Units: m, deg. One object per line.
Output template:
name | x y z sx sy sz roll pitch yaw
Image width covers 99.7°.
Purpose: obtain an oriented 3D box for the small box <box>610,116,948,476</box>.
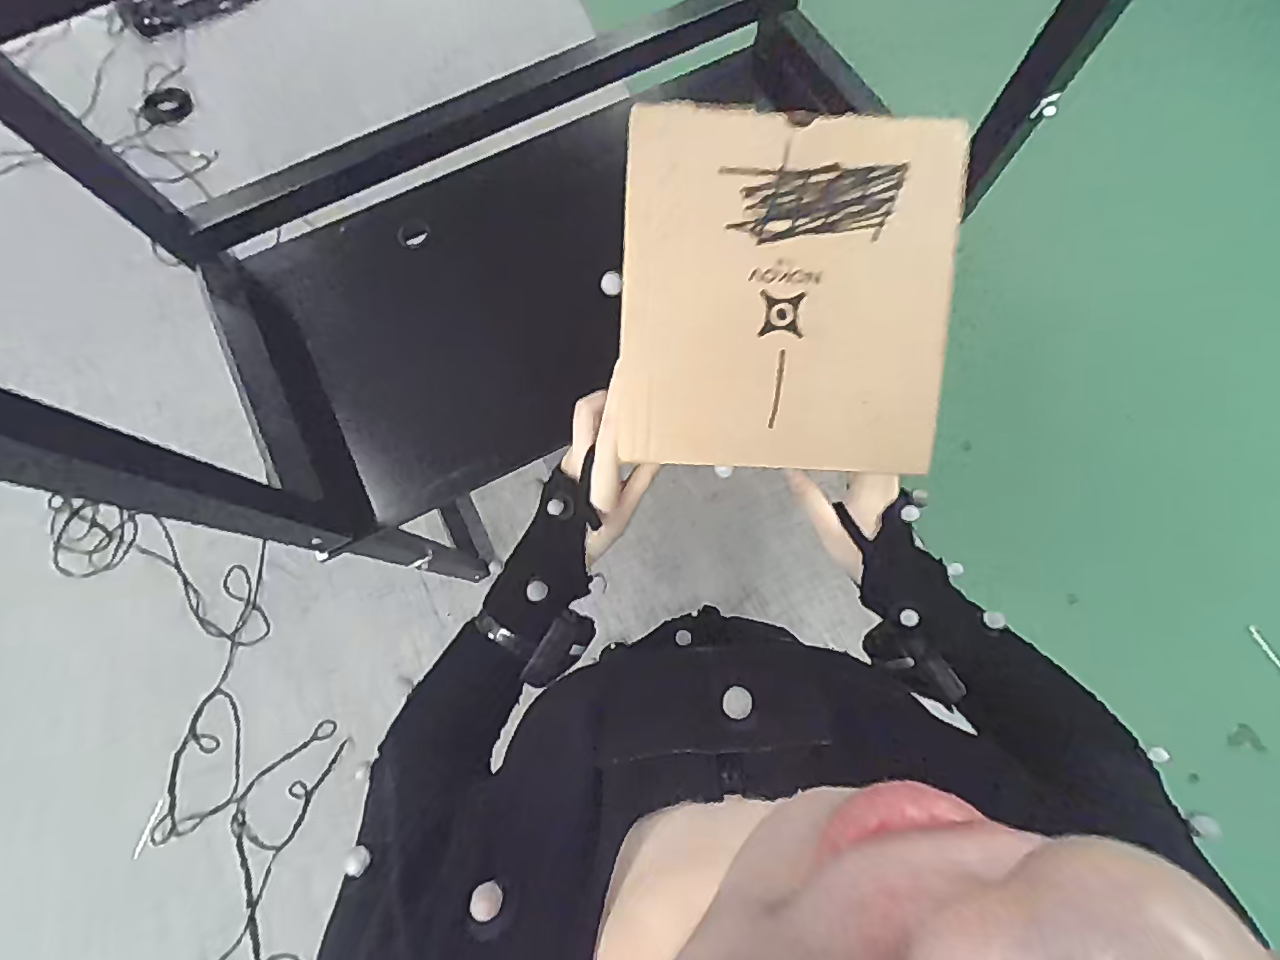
small box | 0.071 -0.101 0.361 0.168 0.176 0.179 4 97 1
